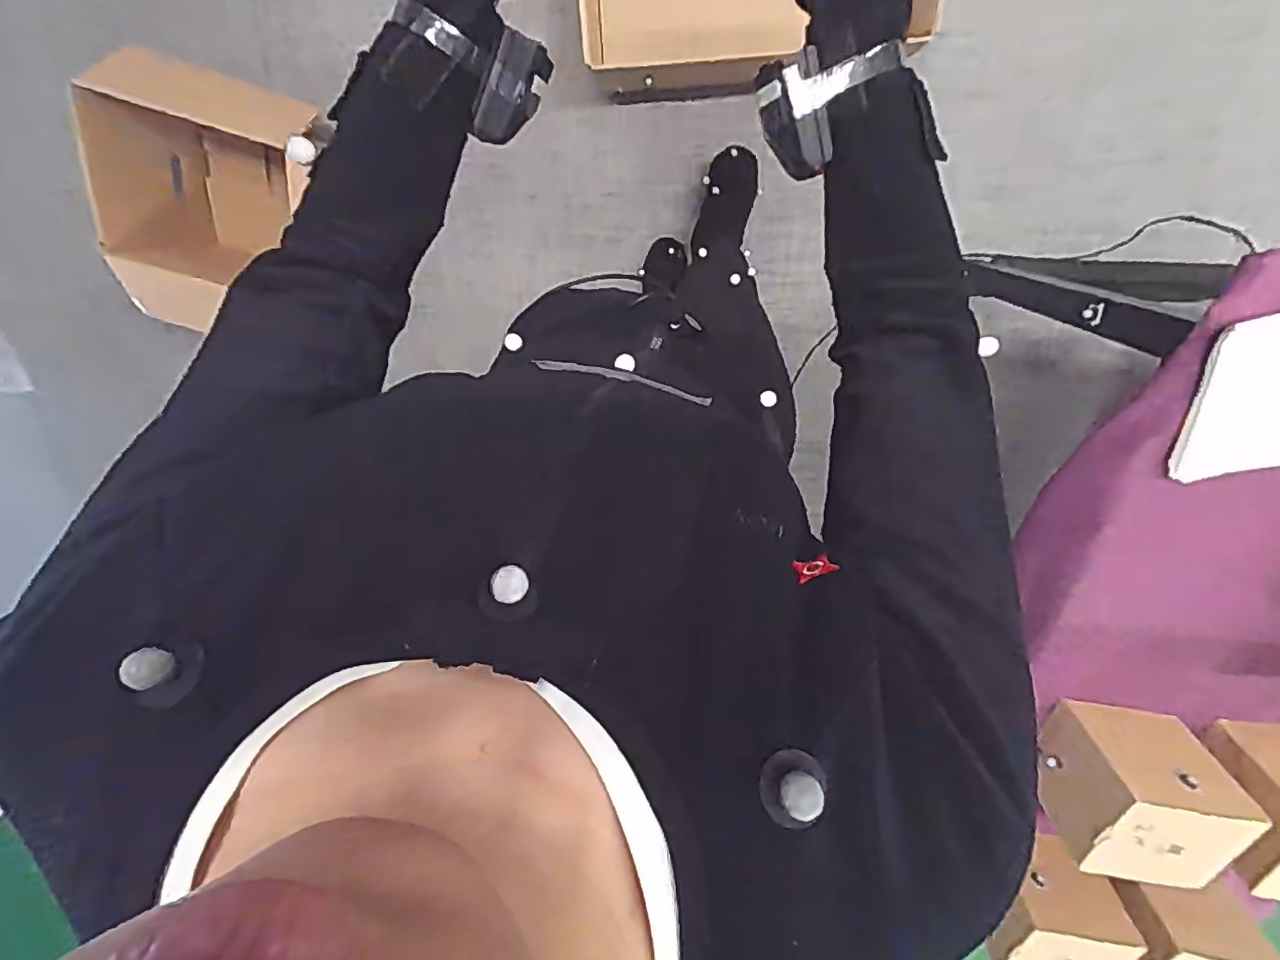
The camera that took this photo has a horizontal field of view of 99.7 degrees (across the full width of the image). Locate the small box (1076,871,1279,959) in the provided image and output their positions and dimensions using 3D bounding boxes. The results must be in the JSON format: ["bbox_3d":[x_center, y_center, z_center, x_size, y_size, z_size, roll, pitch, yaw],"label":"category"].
[{"bbox_3d":[0.926,0.779,0.944,0.179,0.176,0.168,10,118,3],"label":"small box"}]

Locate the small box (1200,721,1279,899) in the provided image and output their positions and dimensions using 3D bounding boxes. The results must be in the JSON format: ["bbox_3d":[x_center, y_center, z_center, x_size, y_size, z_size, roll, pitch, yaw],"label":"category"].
[{"bbox_3d":[0.956,0.479,0.787,0.179,0.176,0.168,3,117,5],"label":"small box"}]

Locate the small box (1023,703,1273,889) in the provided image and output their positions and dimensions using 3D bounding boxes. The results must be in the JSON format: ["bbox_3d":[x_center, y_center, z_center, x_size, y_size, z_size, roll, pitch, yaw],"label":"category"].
[{"bbox_3d":[0.728,0.461,0.804,0.179,0.176,0.168,8,118,3],"label":"small box"}]
